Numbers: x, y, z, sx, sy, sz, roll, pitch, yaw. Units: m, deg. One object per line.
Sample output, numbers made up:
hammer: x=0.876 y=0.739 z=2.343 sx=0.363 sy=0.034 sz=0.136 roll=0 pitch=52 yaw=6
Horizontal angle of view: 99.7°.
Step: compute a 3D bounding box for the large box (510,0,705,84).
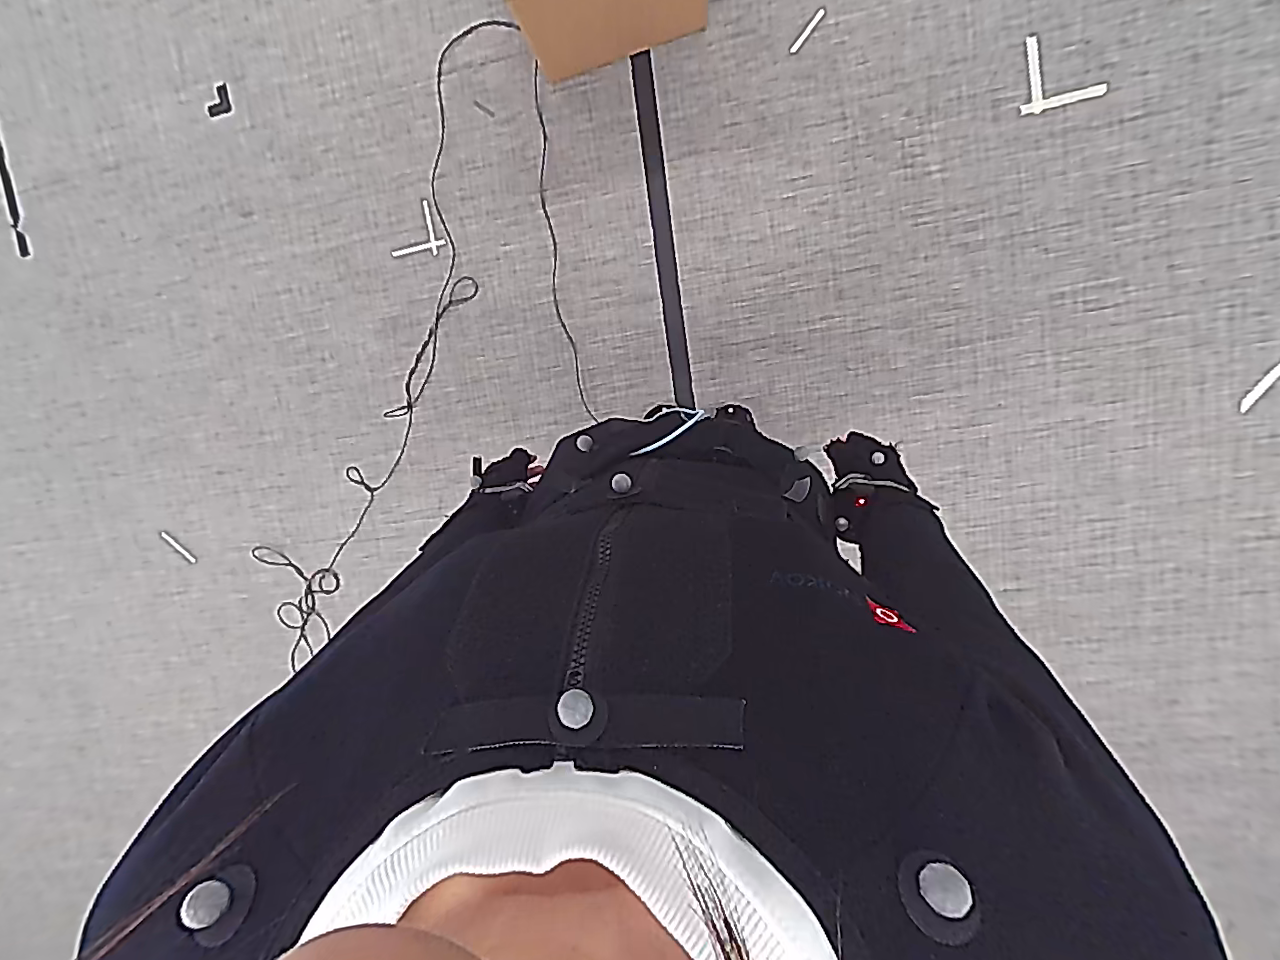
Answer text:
large box: x=-0.092 y=-1.142 z=1.140 sx=0.408 sy=0.320 sz=0.320 roll=-14 pitch=98 yaw=8
